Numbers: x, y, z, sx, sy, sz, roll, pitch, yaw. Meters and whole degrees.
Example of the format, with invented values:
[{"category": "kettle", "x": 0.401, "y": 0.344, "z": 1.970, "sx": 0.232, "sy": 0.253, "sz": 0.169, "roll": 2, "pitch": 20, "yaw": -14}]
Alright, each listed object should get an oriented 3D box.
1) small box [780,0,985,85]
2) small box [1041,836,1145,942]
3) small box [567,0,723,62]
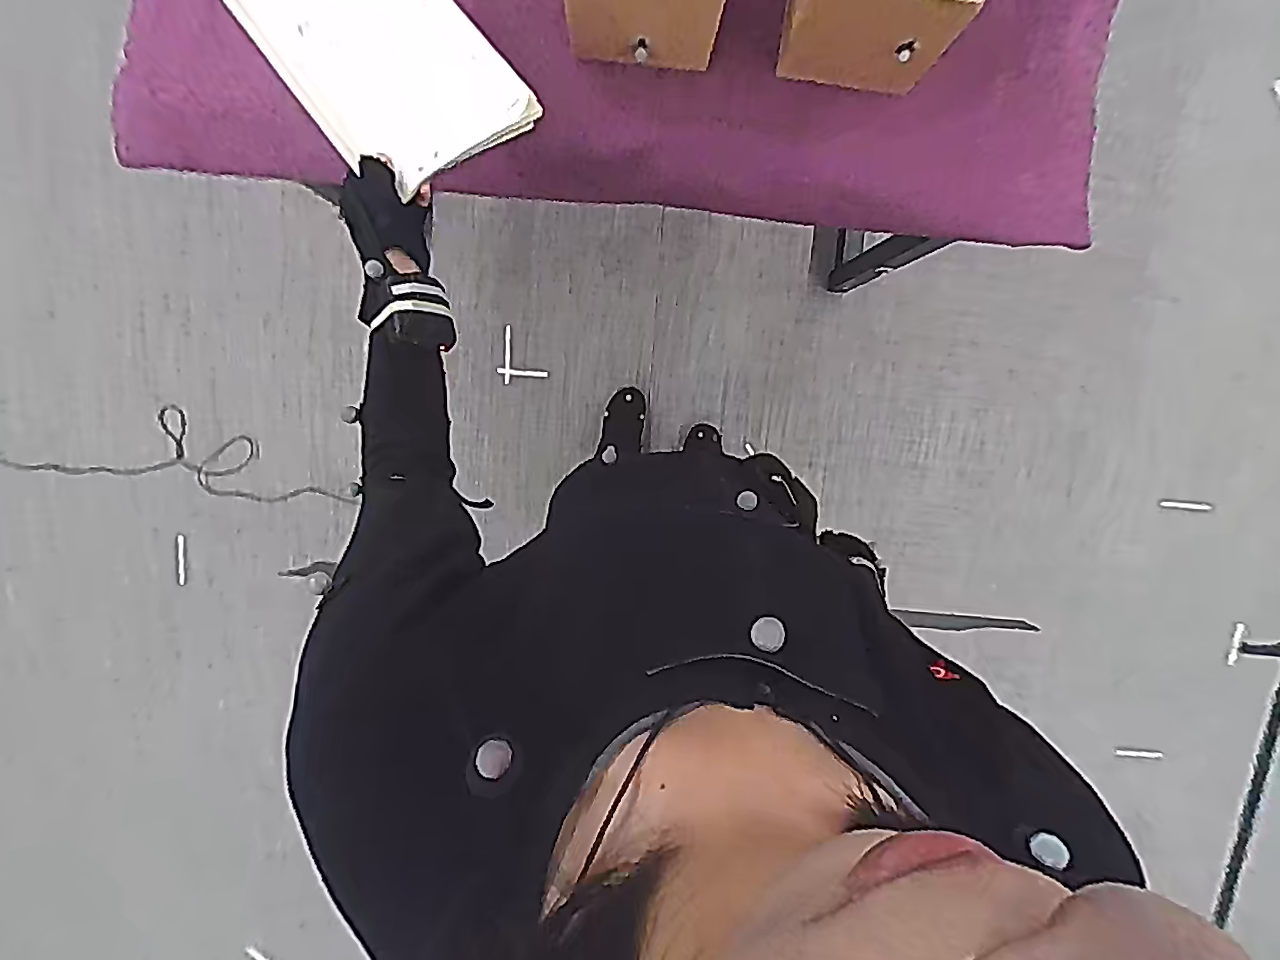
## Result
[{"category": "small box", "x": 0.276, "y": -0.586, "z": 0.609, "sx": 0.179, "sy": 0.176, "sz": 0.168, "roll": 8, "pitch": 97, "yaw": -2}, {"category": "small box", "x": 1.384, "y": 1.249, "z": 1.661, "sx": 0.168, "sy": 0.176, "sz": 0.179, "roll": -18, "pitch": 98, "yaw": 1}, {"category": "small box", "x": 0.011, "y": -0.604, "z": 0.597, "sx": 0.179, "sy": 0.176, "sz": 0.168, "roll": 4, "pitch": 98, "yaw": -3}]
